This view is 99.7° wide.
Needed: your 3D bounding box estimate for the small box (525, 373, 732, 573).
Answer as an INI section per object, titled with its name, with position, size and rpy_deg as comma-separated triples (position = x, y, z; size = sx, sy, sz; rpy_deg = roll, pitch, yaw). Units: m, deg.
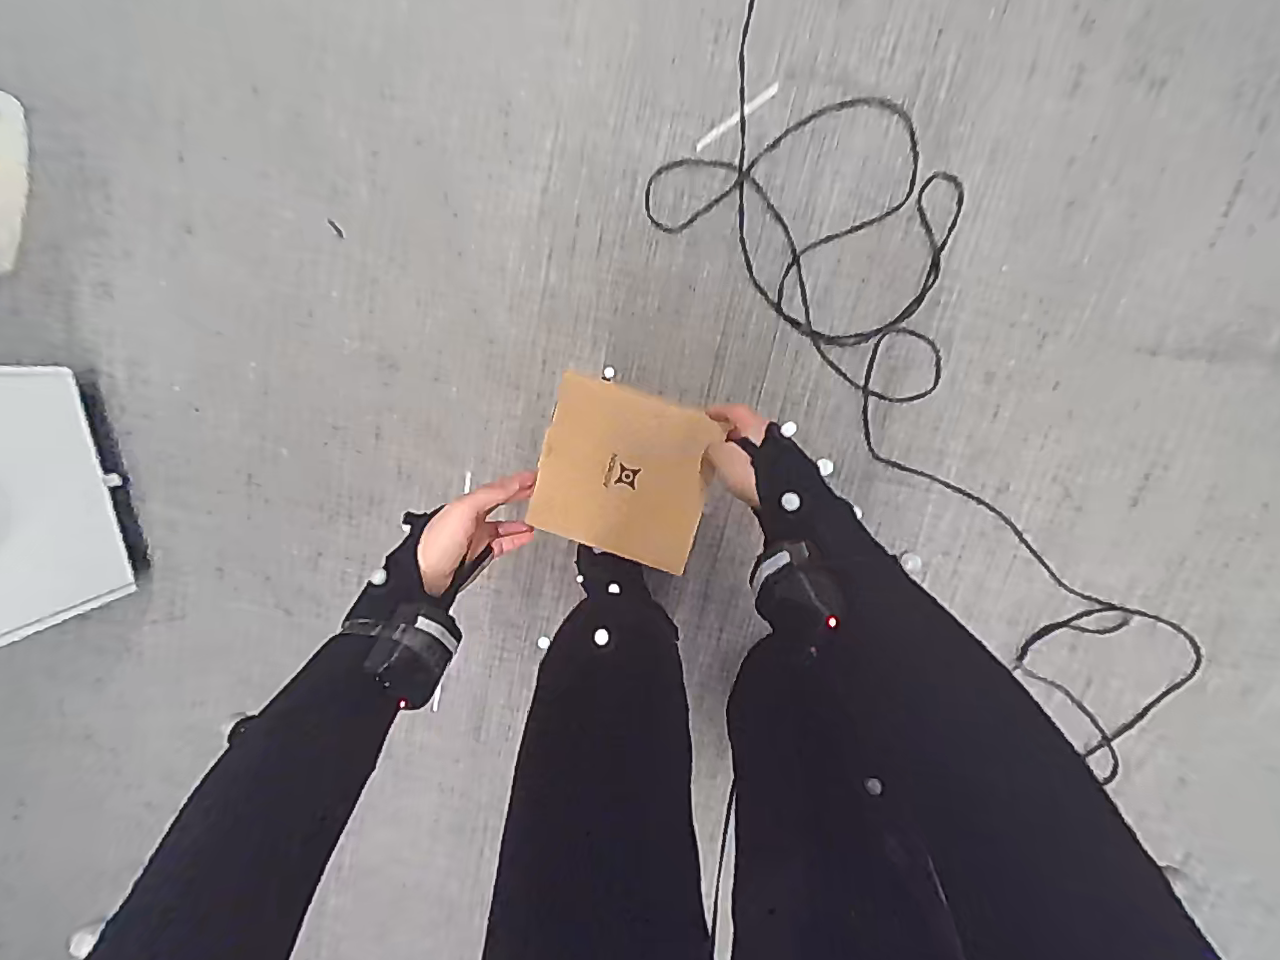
[small box]
position = -0.005, -0.018, 0.622
size = 0.179, 0.176, 0.168
rpy_deg = 18, 100, 5
